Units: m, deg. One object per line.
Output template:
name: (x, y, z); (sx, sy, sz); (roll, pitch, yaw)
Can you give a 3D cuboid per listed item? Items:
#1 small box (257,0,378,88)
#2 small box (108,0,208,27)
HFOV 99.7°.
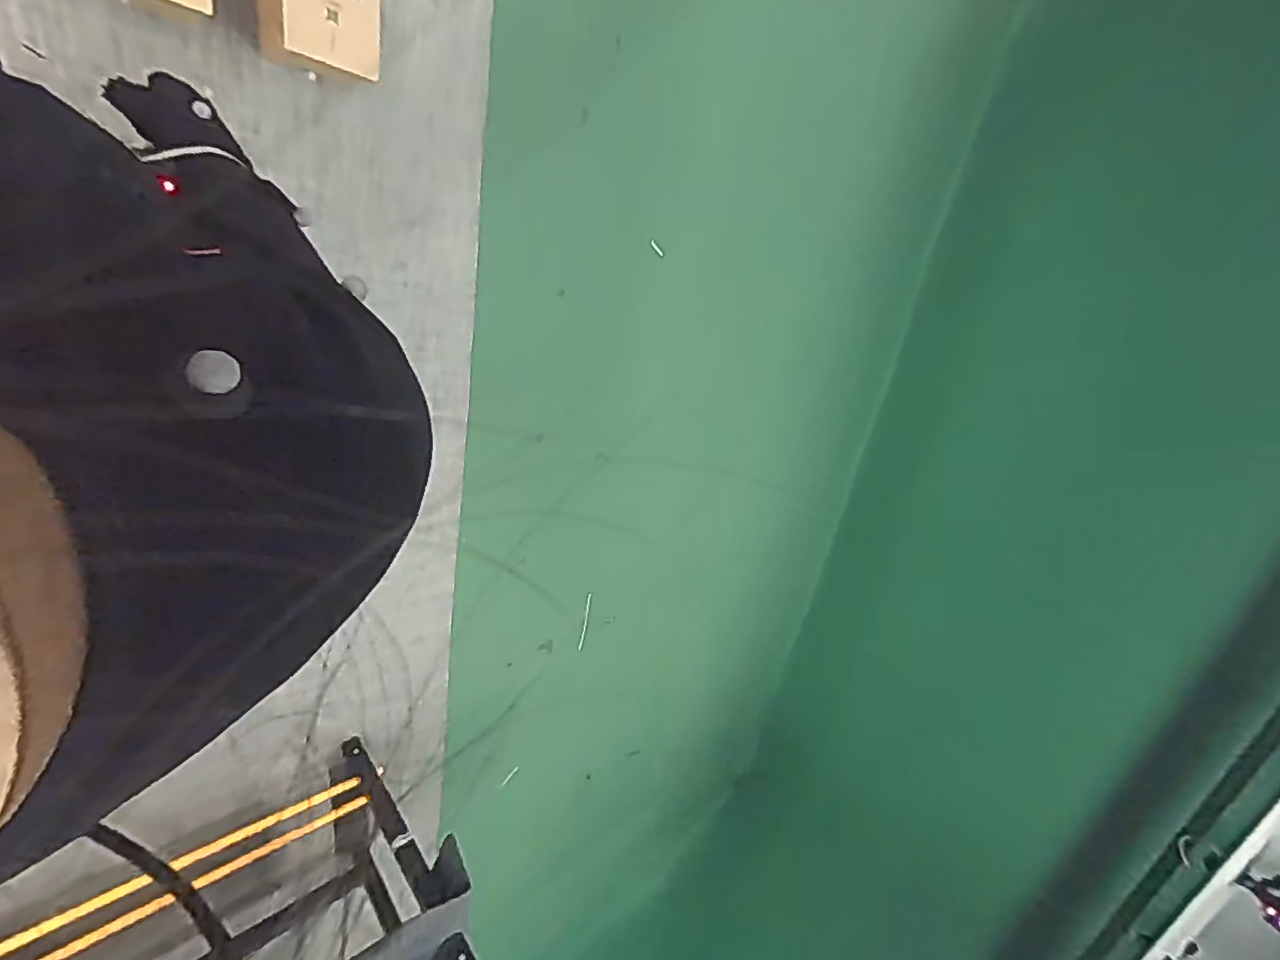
small box: (-0.621, -0.885, 1.037); (0.168, 0.176, 0.179); (-11, 121, -44)
small box: (-0.805, -0.856, 0.851); (0.168, 0.176, 0.179); (-12, 121, -44)
